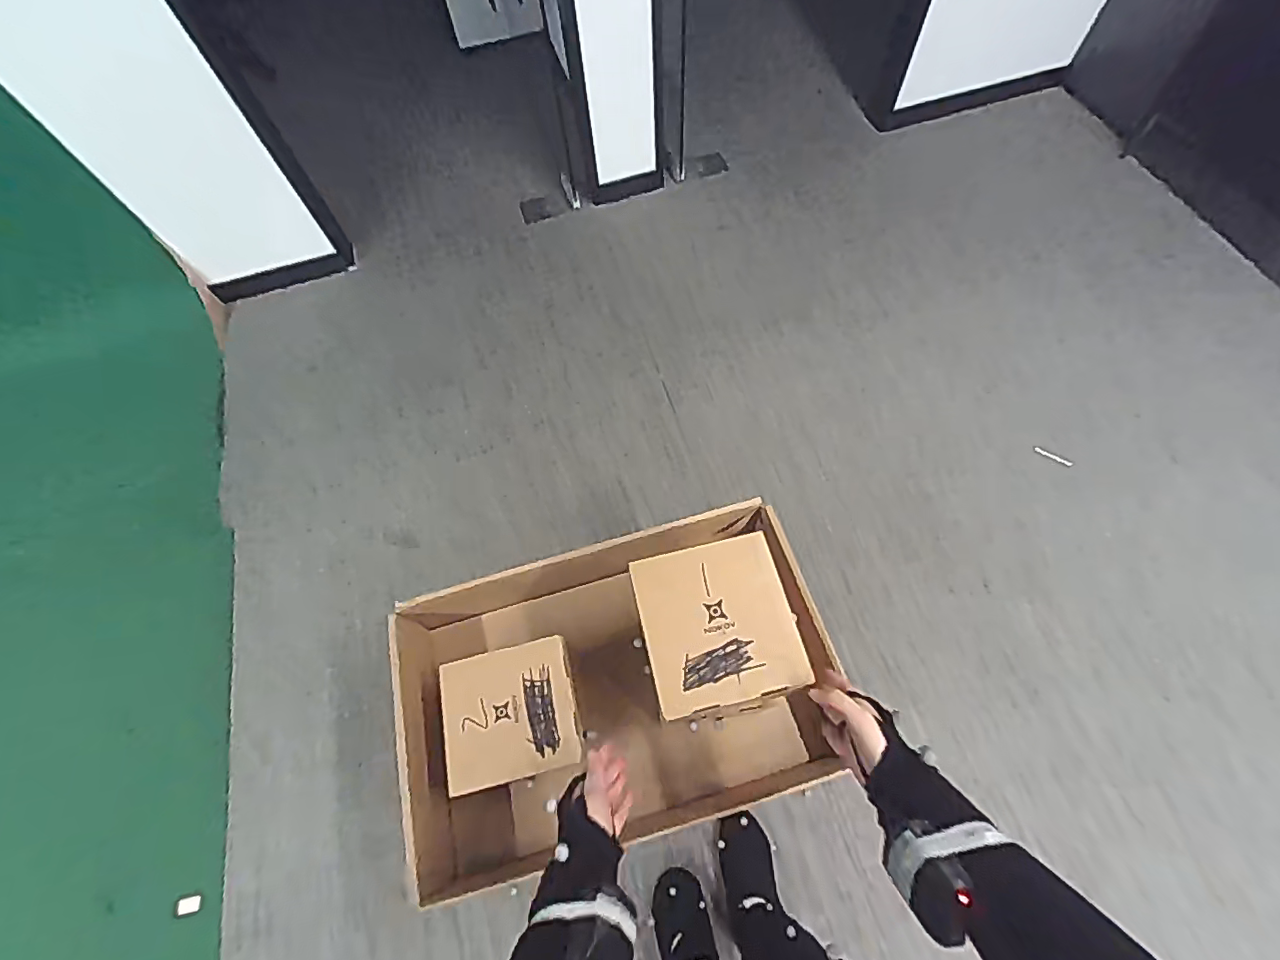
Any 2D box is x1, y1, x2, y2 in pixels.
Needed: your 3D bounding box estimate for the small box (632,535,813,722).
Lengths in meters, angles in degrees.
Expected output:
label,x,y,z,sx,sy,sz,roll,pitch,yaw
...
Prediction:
label,x,y,z,sx,sy,sz,roll,pitch,yaw
small box,0.091,0.191,0.669,0.168,0.176,0.179,-13,64,-3
